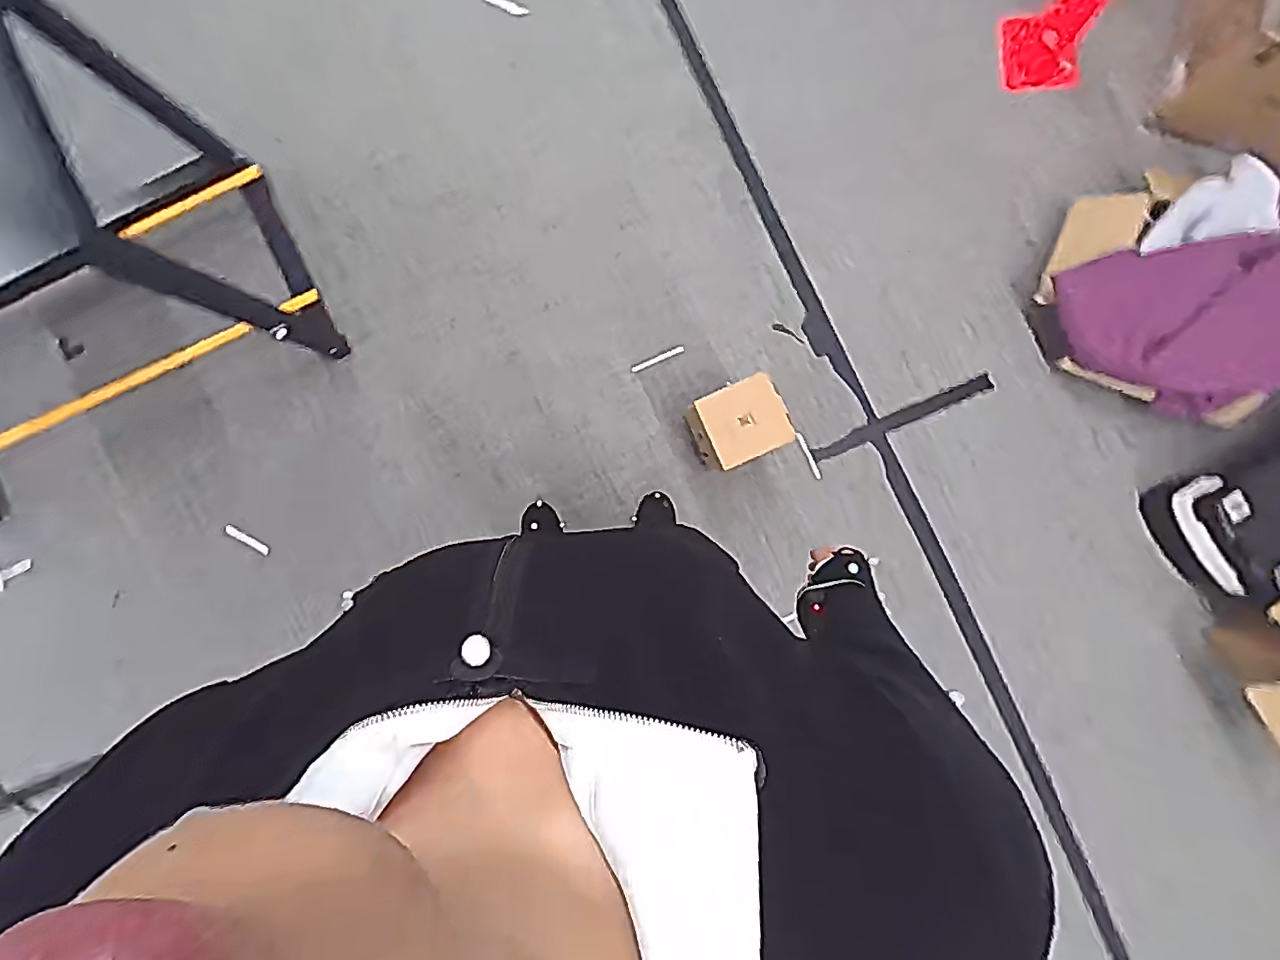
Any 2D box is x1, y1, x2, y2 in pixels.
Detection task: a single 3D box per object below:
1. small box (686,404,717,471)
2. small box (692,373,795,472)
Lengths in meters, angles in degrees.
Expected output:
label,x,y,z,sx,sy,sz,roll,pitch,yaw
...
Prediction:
label,x,y,z,sx,sy,sz,roll,pitch,yaw
small box,0.228,-0.131,1.417,0.168,0.176,0.179,-23,89,1
small box,0.231,-0.127,1.255,0.179,0.176,0.168,-24,88,3
